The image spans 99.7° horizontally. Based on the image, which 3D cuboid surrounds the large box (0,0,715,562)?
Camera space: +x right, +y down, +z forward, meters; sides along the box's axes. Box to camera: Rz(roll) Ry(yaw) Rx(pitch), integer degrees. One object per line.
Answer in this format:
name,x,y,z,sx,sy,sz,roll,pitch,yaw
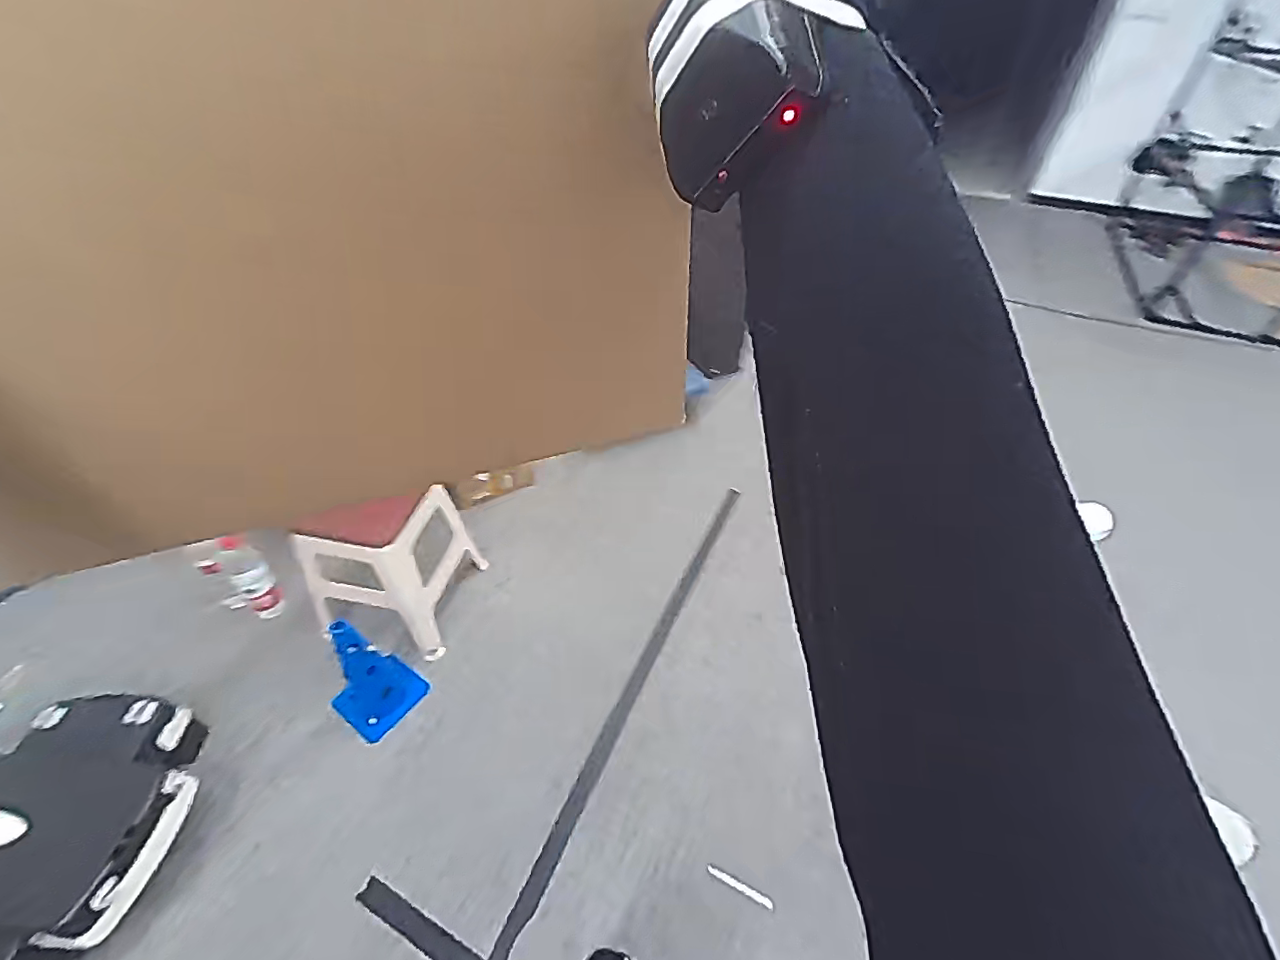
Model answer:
large box,-0.201,-0.200,0.344,0.408,0.320,0.320,-13,45,-13
